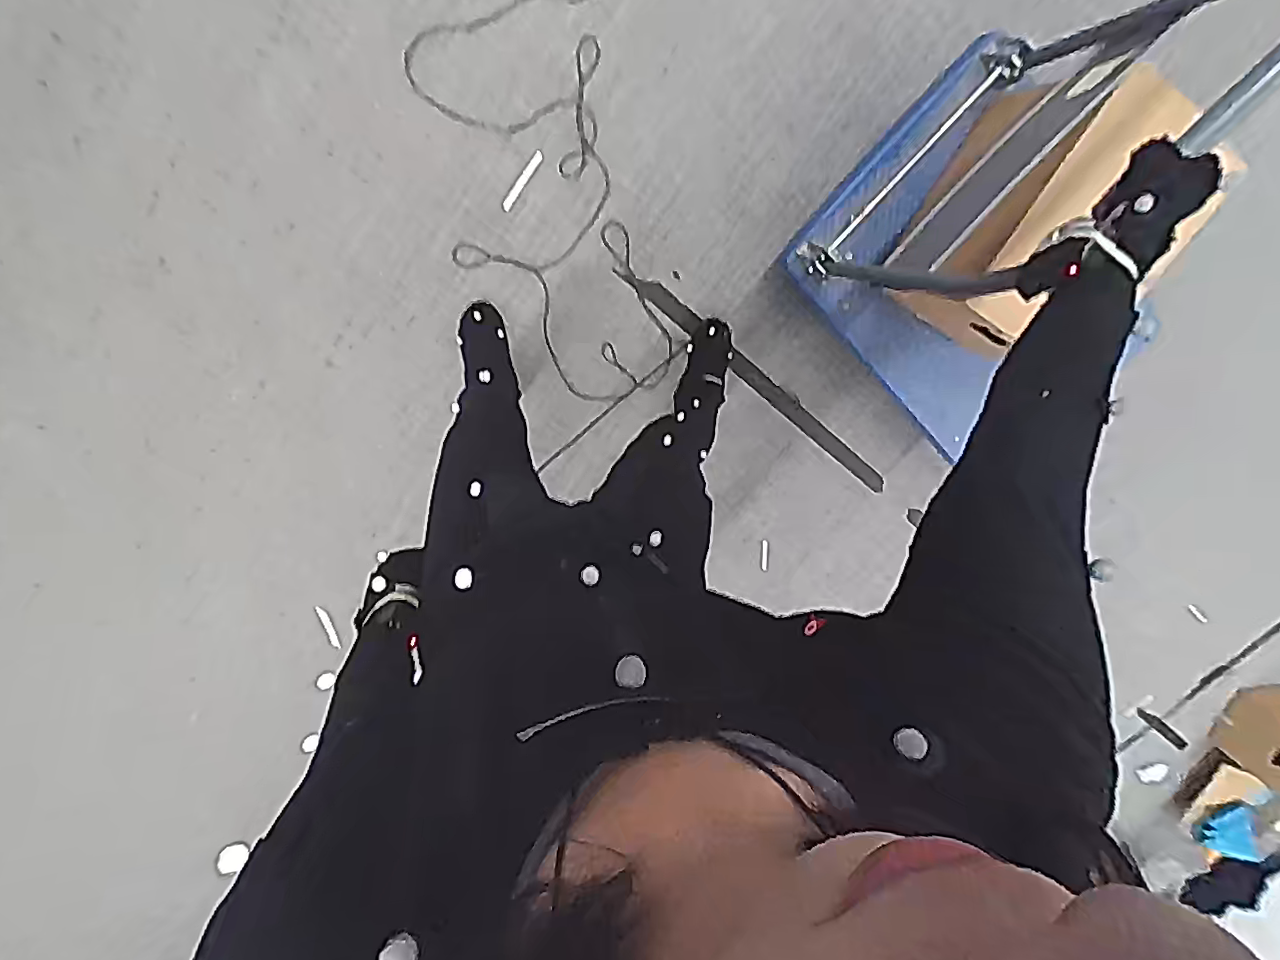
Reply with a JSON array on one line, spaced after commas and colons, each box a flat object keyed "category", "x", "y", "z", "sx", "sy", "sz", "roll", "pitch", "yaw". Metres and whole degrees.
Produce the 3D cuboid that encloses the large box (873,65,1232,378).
[{"category": "large box", "x": 0.758, "y": -0.478, "z": 1.058, "sx": 0.320, "sy": 0.320, "sz": 0.408, "roll": 23, "pitch": 110, "yaw": -18}]
